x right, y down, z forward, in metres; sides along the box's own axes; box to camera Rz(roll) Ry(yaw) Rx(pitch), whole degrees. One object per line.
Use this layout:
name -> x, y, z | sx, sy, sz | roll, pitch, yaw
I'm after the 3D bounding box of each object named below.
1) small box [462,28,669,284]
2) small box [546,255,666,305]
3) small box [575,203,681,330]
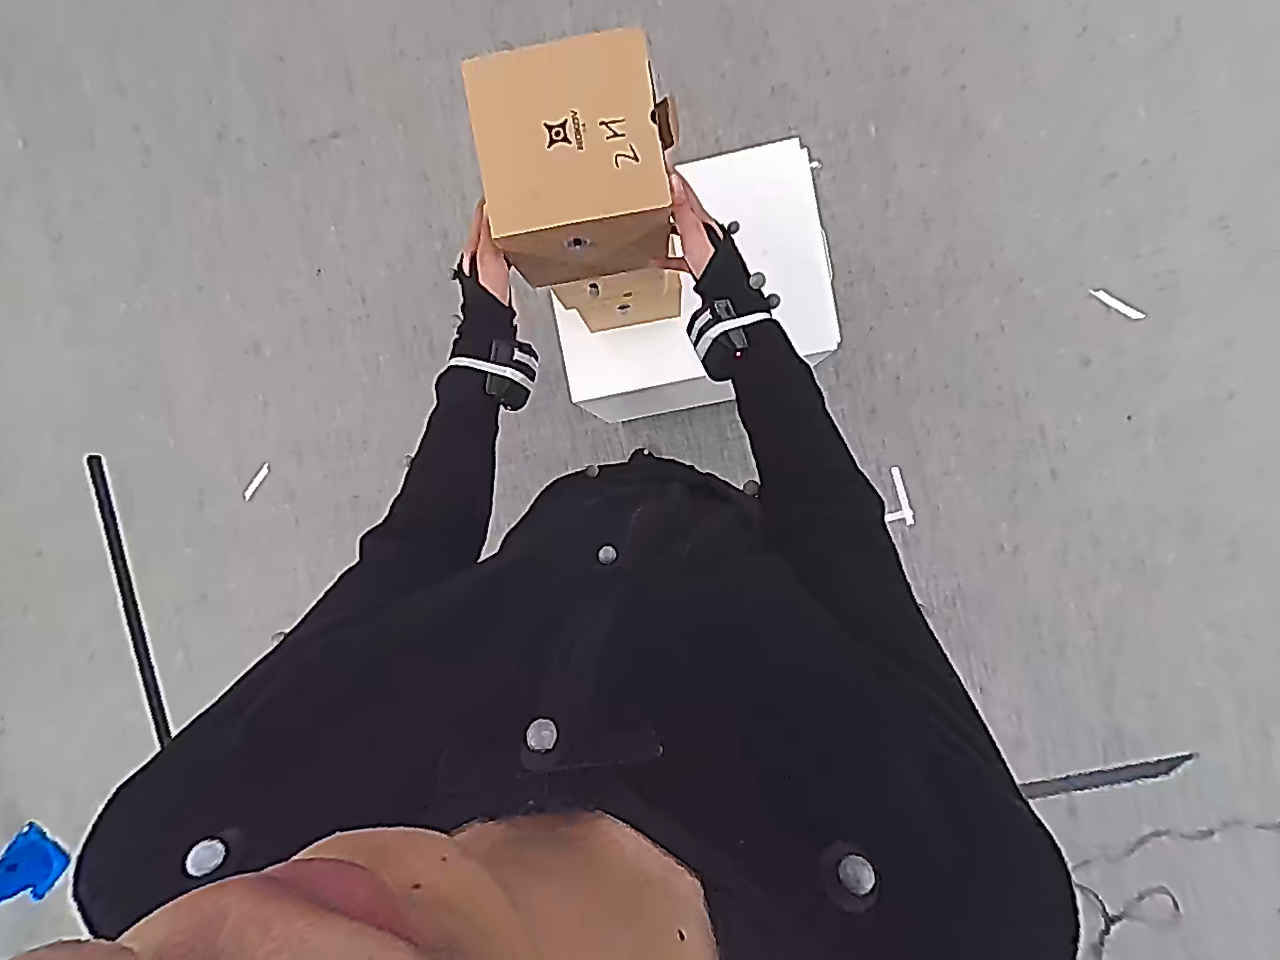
small box -> -0.066, -0.326, 0.582 | 0.179, 0.176, 0.168 | -9, 94, 2
small box -> -0.055, -0.364, 0.779 | 0.168, 0.176, 0.179 | -8, 91, 4
small box -> -0.027, -0.372, 0.940 | 0.179, 0.176, 0.168 | -10, 91, 3
